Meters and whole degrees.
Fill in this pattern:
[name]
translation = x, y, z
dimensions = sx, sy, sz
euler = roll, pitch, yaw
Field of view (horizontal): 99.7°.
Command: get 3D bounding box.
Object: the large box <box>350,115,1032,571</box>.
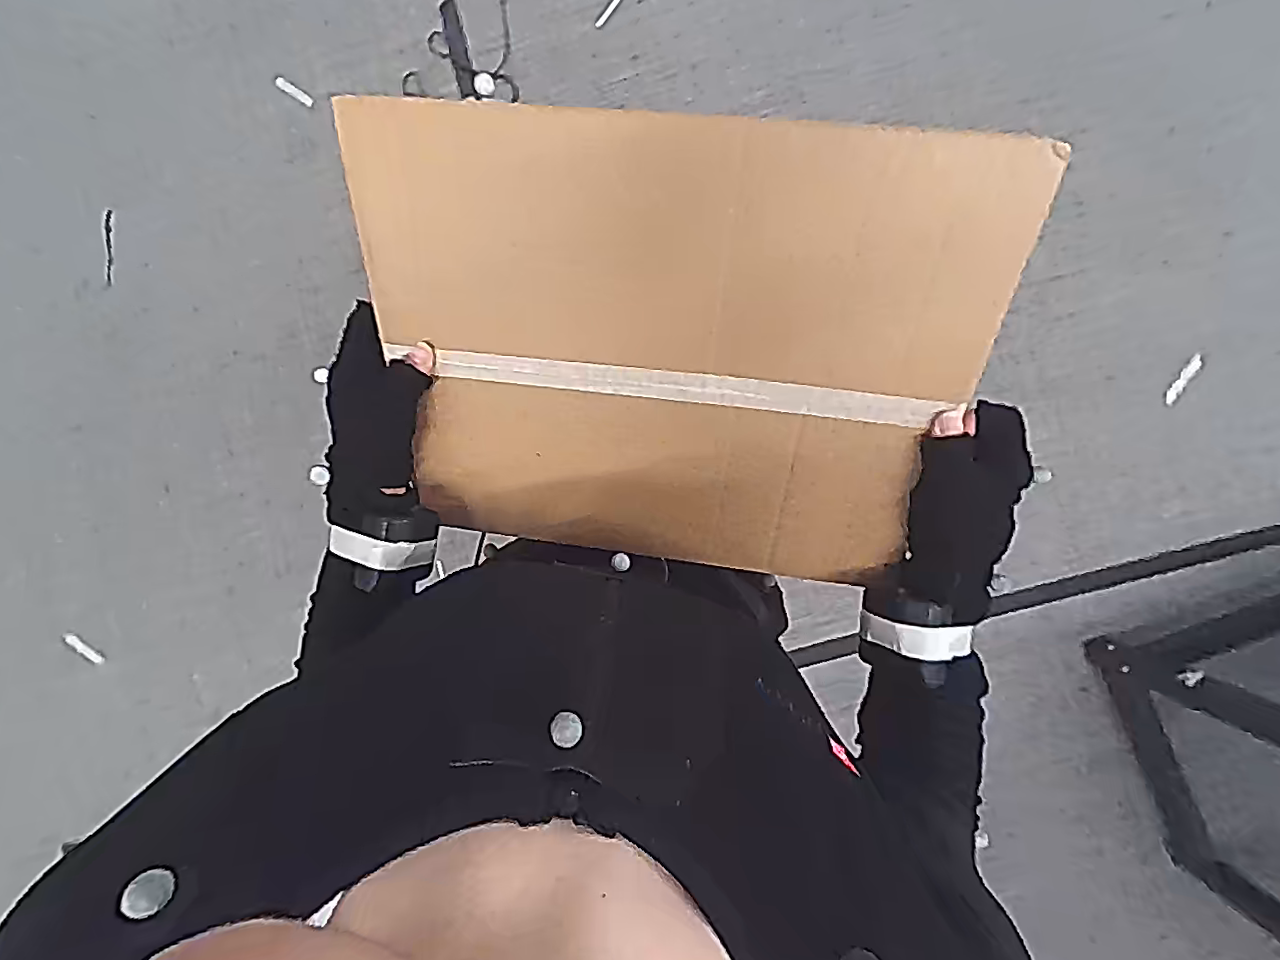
[large box]
translation = 0.031, -0.149, 0.514
dimensions = 0.408, 0.320, 0.320
euler = 6, 124, 6
